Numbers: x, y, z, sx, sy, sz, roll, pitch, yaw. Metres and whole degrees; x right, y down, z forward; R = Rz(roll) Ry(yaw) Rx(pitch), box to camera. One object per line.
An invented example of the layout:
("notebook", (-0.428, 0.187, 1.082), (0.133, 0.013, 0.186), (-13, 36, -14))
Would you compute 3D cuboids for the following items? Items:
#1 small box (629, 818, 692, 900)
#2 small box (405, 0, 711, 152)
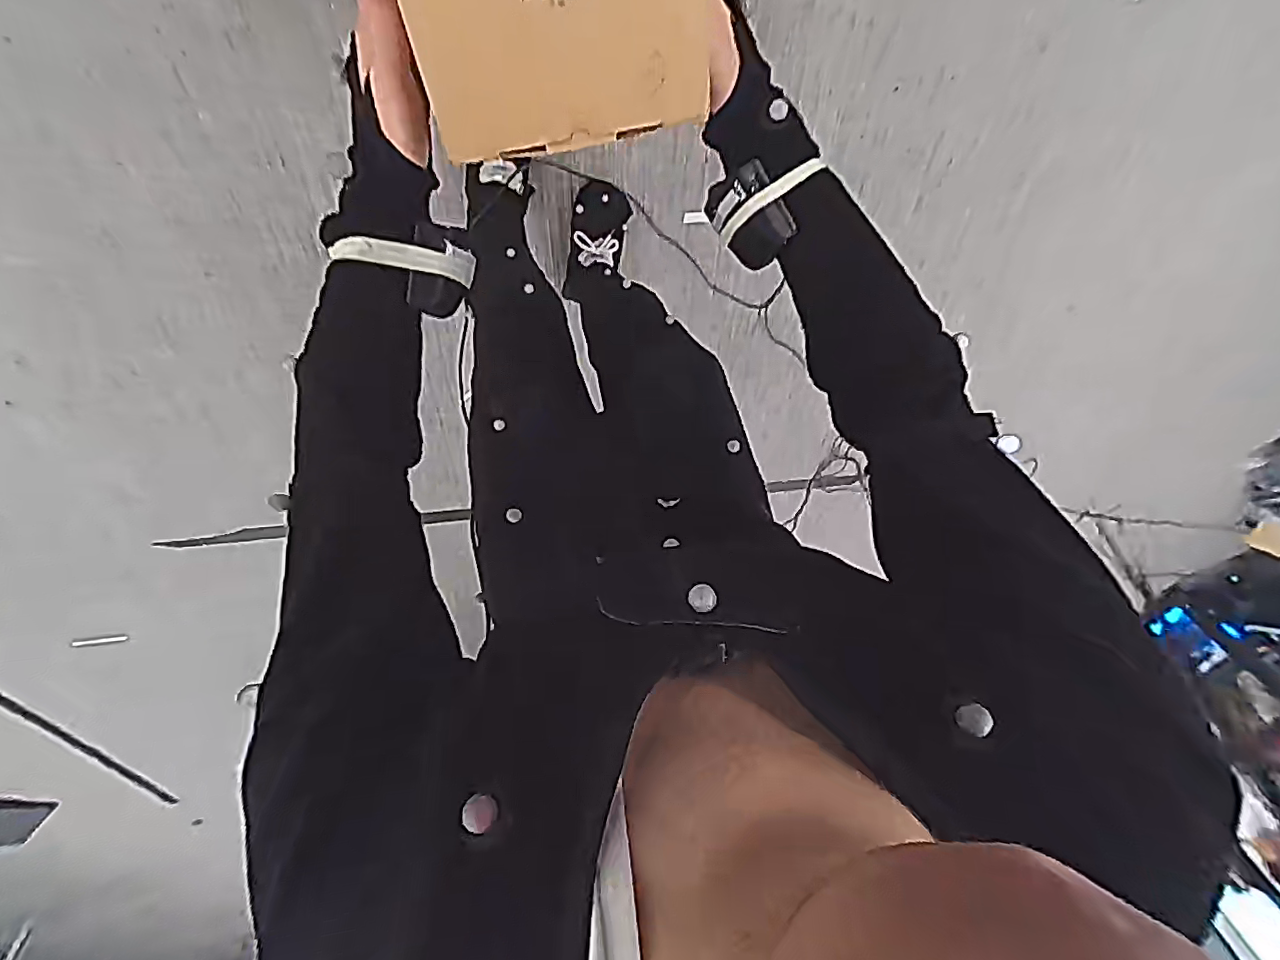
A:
("small box", (0.061, 1.180, 1.691), (0.168, 0.176, 0.179), (-8, 135, -6))
("small box", (-0.057, -0.330, 0.334), (0.168, 0.176, 0.179), (-12, 131, -2))
